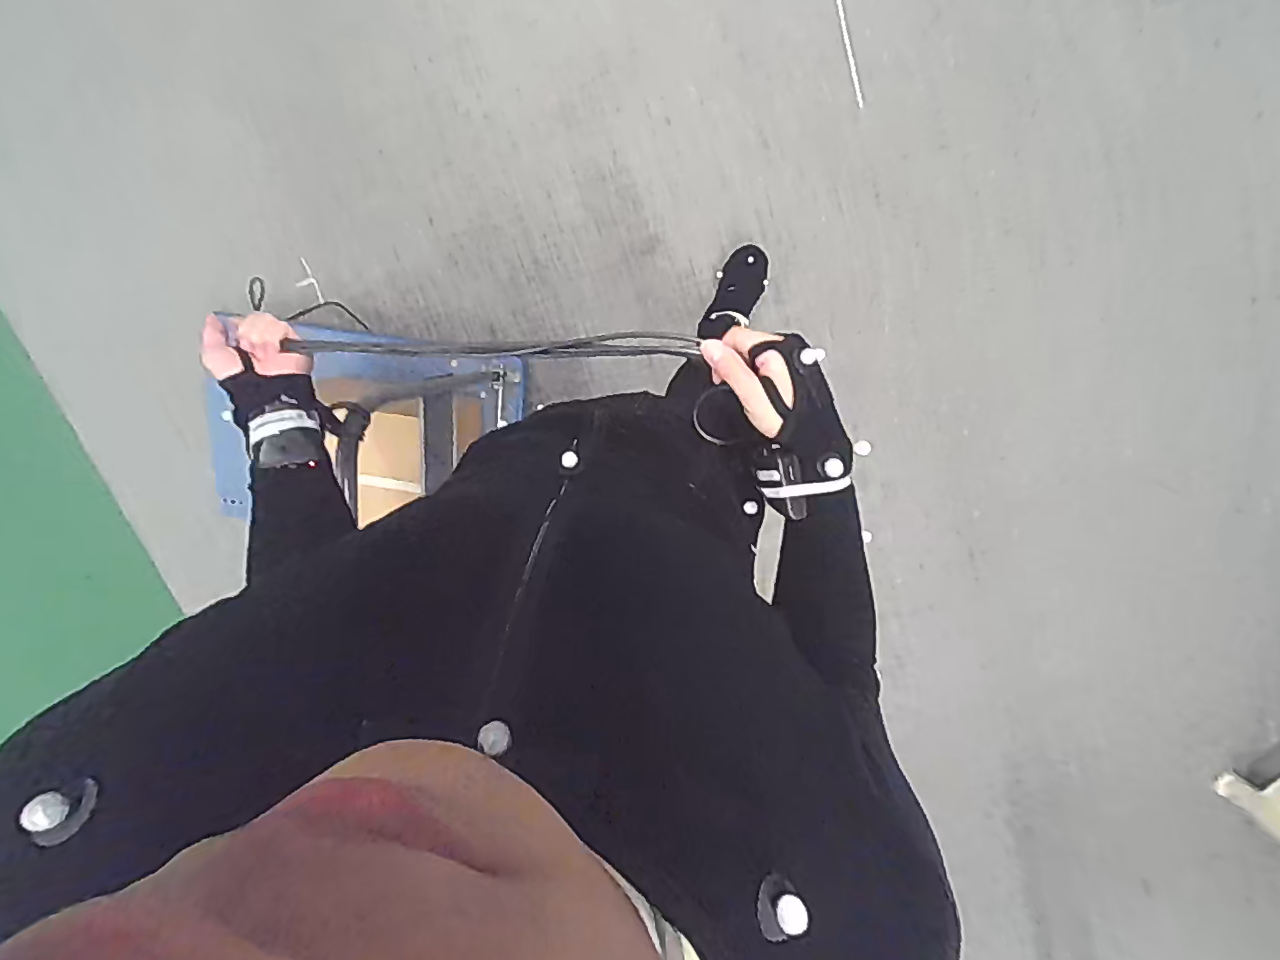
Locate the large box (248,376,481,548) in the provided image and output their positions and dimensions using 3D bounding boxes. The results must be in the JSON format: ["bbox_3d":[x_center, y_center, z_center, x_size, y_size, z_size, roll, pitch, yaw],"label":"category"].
[{"bbox_3d":[-0.635,-0.061,1.314,0.408,0.320,0.320,9,107,3],"label":"large box"}]
